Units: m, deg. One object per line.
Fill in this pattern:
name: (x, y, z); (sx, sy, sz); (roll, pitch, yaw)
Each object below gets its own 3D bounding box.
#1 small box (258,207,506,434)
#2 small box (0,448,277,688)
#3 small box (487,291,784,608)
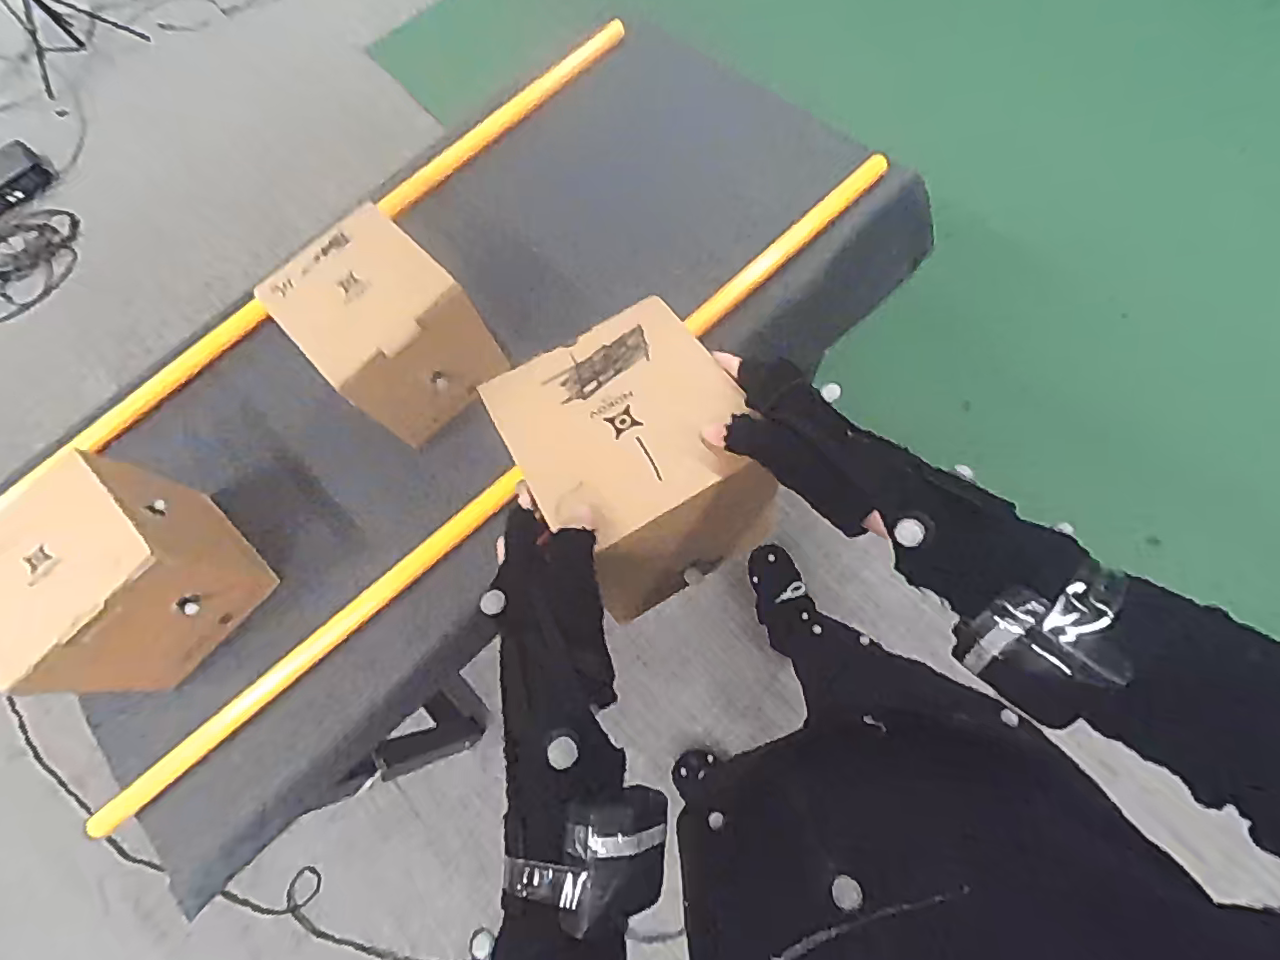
small box: (-0.294, -0.176, 0.655); (0.179, 0.176, 0.168); (41, 82, 18)
small box: (-0.554, 0.101, 0.591); (0.179, 0.176, 0.168); (38, 78, 18)
small box: (0.000, -0.018, 0.465); (0.168, 0.176, 0.179); (-30, 62, -6)
